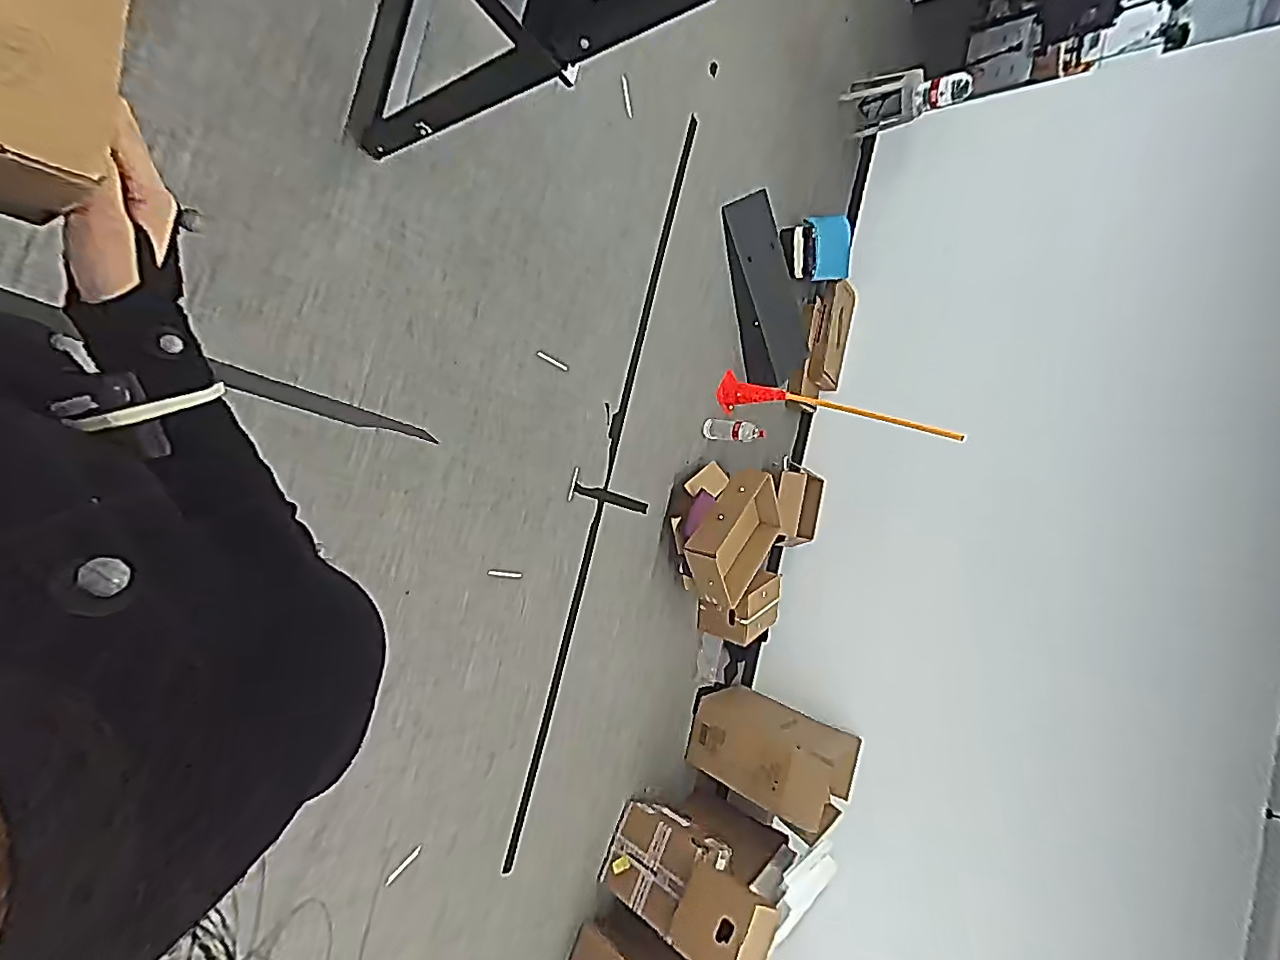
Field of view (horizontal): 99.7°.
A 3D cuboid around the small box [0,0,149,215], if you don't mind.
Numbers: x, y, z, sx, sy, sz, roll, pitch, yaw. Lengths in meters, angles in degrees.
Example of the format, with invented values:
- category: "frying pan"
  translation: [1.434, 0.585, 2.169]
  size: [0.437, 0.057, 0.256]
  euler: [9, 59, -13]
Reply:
- category: "small box"
  translation: [-0.335, -0.234, 0.226]
  size: [0.168, 0.176, 0.179]
  euler: [5, 97, -56]
